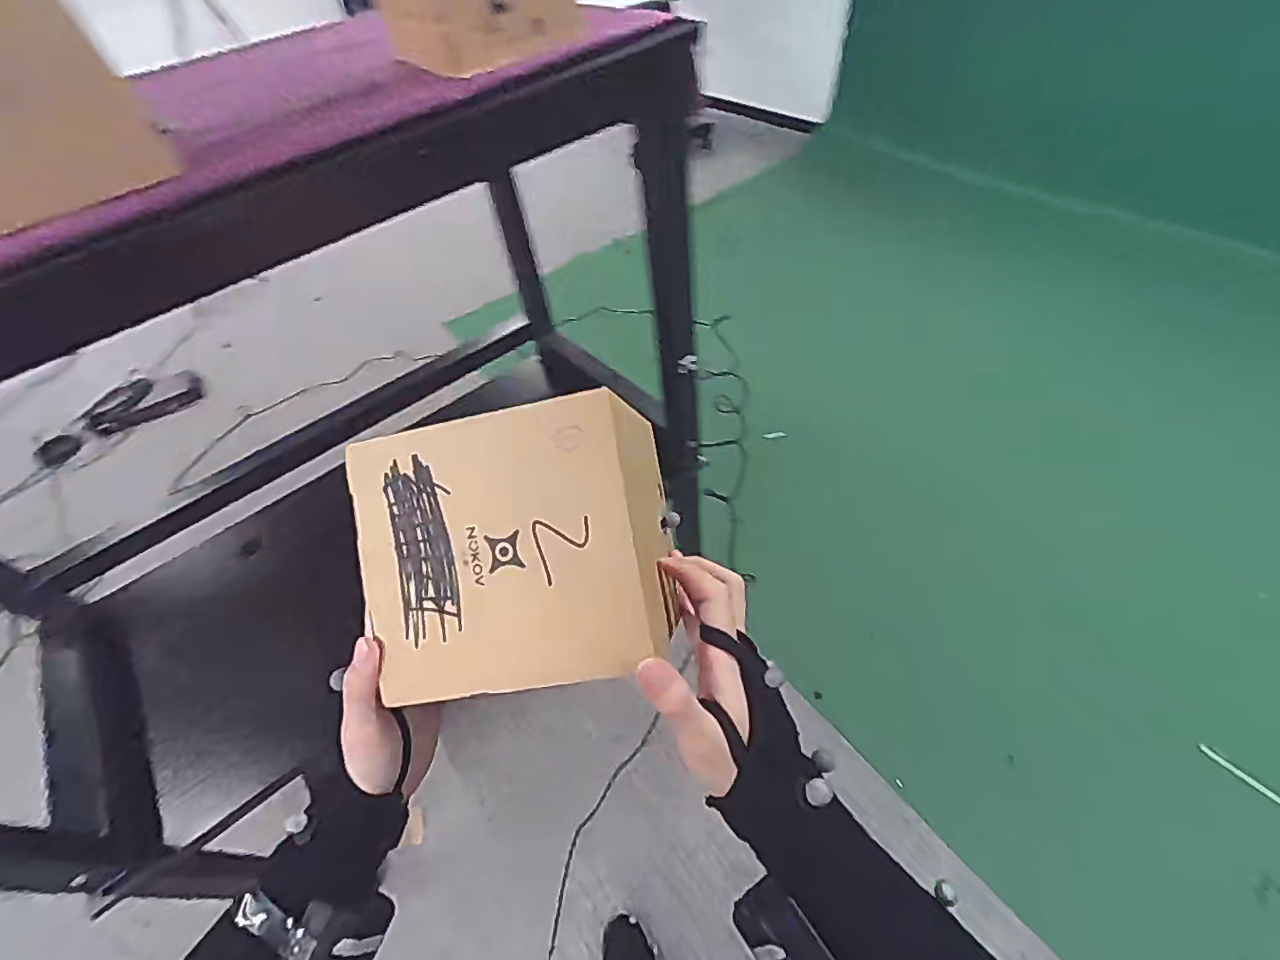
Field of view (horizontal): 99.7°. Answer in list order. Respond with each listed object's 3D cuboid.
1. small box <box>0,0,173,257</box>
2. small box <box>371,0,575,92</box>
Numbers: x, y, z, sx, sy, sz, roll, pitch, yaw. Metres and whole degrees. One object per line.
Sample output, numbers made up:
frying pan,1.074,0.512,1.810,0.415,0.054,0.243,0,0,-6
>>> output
small box,-0.518,-0.302,0.427,0.179,0.176,0.168,-35,53,-18
small box,-0.193,-0.543,0.579,0.168,0.176,0.179,-35,55,-19
